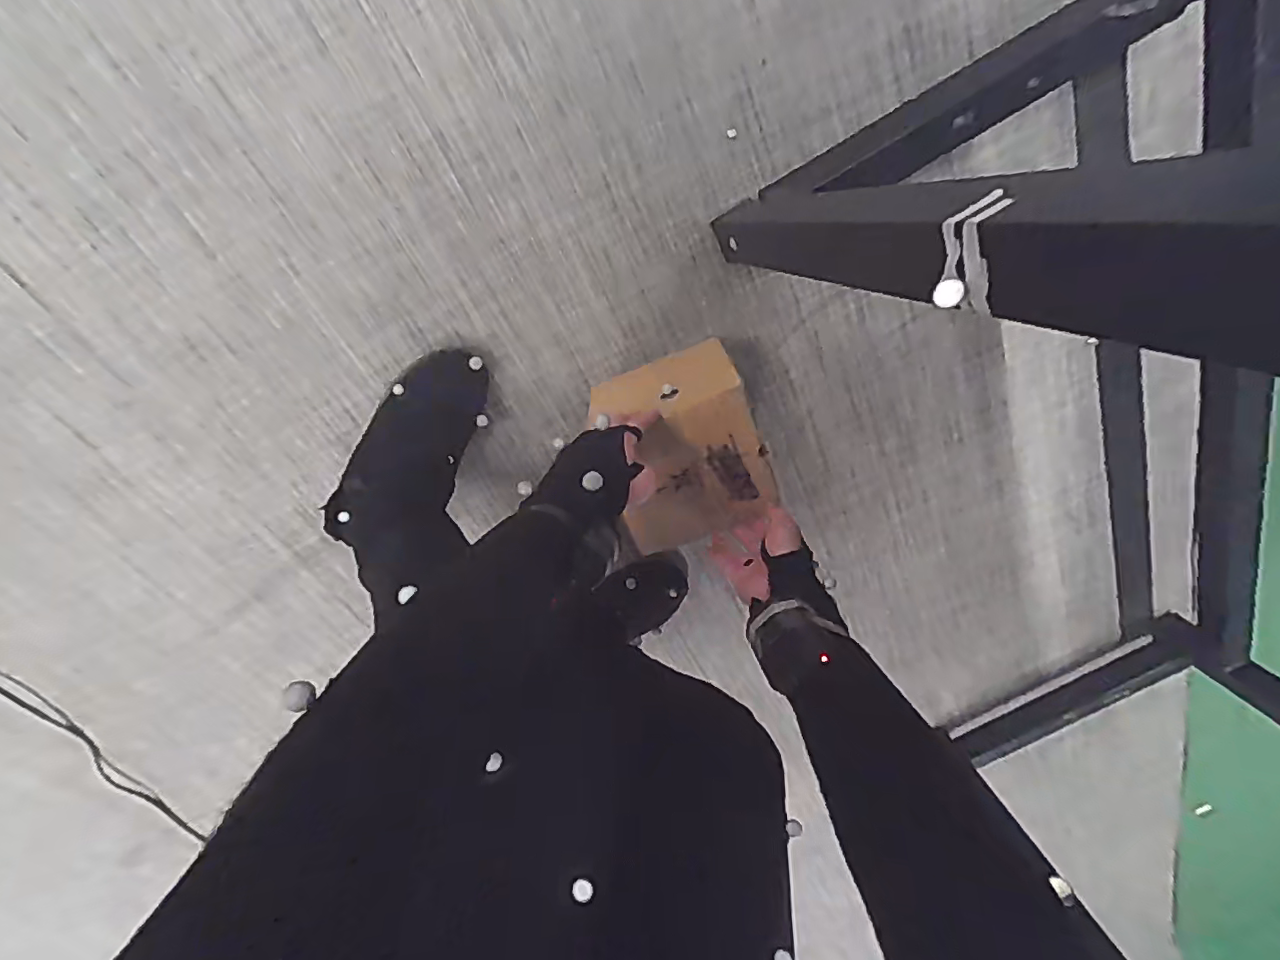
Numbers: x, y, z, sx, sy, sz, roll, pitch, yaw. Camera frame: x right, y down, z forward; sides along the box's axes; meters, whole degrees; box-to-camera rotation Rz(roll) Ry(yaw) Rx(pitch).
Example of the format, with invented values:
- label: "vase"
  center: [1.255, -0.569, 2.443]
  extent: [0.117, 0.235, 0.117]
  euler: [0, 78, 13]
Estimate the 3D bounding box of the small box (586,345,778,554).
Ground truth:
- label: "small box"
  center: [0.044, -0.046, 0.667]
  extent: [0.179, 0.176, 0.168]
  euler: [-23, 117, 8]
